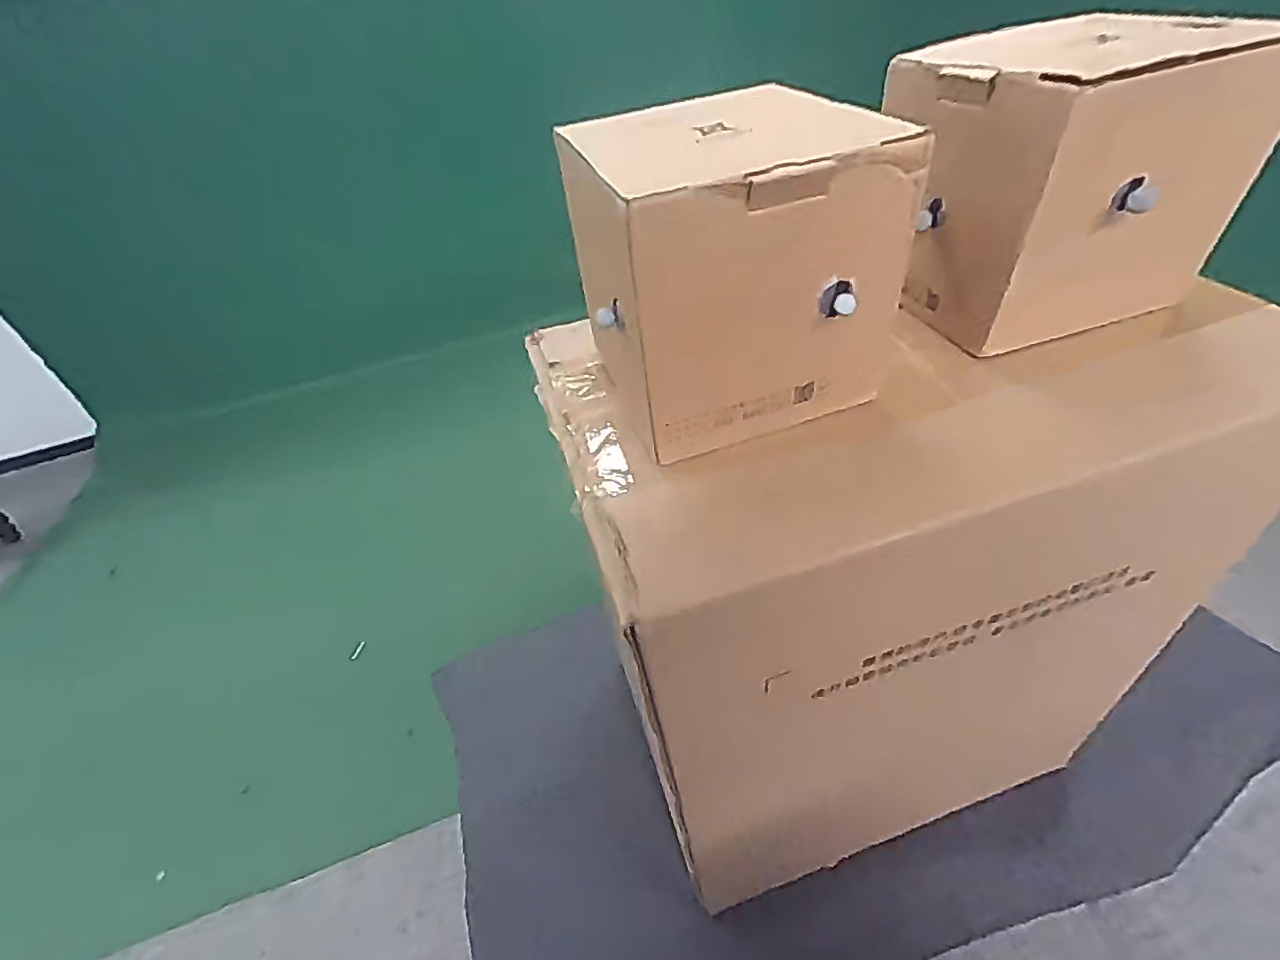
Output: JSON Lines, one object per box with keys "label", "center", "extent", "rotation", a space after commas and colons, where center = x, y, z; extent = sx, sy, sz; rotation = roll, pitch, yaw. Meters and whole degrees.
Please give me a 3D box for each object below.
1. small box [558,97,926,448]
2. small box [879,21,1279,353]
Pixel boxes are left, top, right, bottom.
{"label": "small box", "center": [0.055, -0.140, 0.375], "extent": [0.168, 0.176, 0.179], "rotation": [-17, 43, -9]}
{"label": "small box", "center": [0.297, -0.218, 0.407], "extent": [0.179, 0.176, 0.168], "rotation": [-17, 44, -6]}
